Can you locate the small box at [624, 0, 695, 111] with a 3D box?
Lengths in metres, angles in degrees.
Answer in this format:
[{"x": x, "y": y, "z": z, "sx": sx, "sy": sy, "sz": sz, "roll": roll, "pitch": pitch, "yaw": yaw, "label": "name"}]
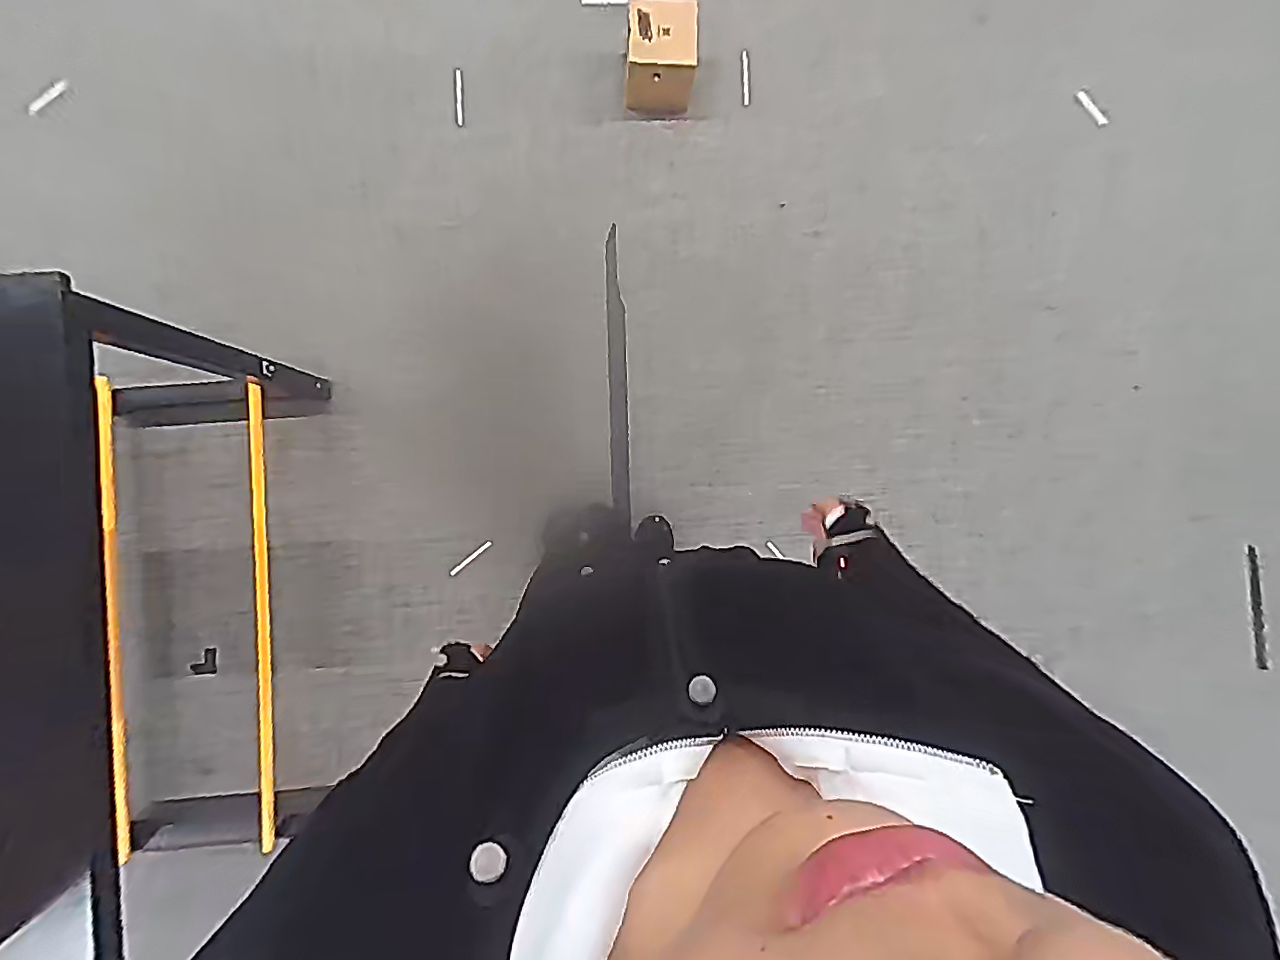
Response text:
[{"x": 0.047, "y": -1.117, "z": 1.434, "sx": 0.179, "sy": 0.176, "sz": 0.168, "roll": 0, "pitch": 90, "yaw": -4, "label": "small box"}]
